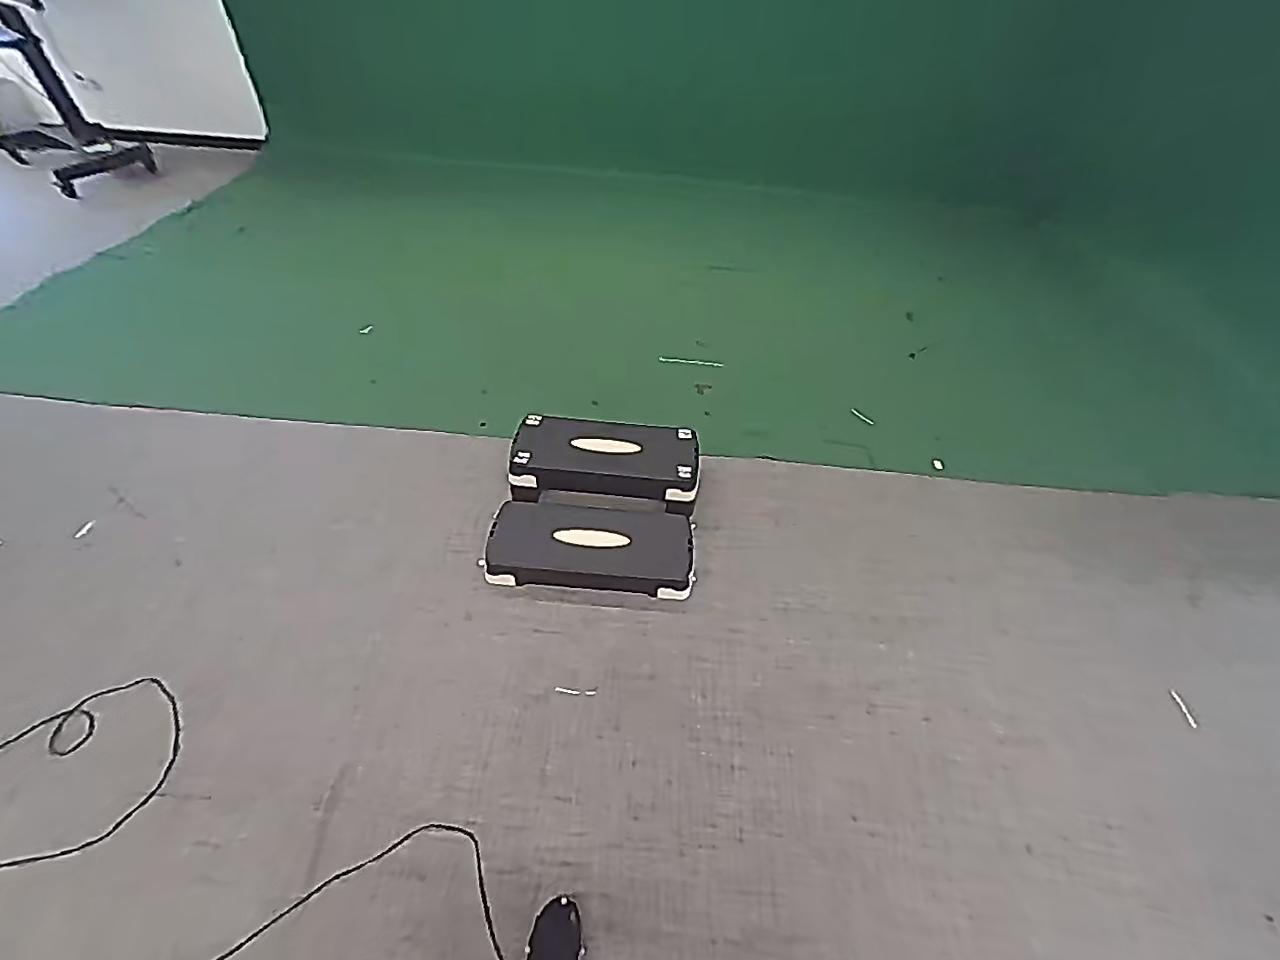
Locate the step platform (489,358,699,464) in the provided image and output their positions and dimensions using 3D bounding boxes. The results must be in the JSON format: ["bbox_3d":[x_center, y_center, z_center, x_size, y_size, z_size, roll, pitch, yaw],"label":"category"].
[{"bbox_3d":[-0.149,-0.235,1.845,0.684,0.204,0.286,5,47,1],"label":"step platform"}]
